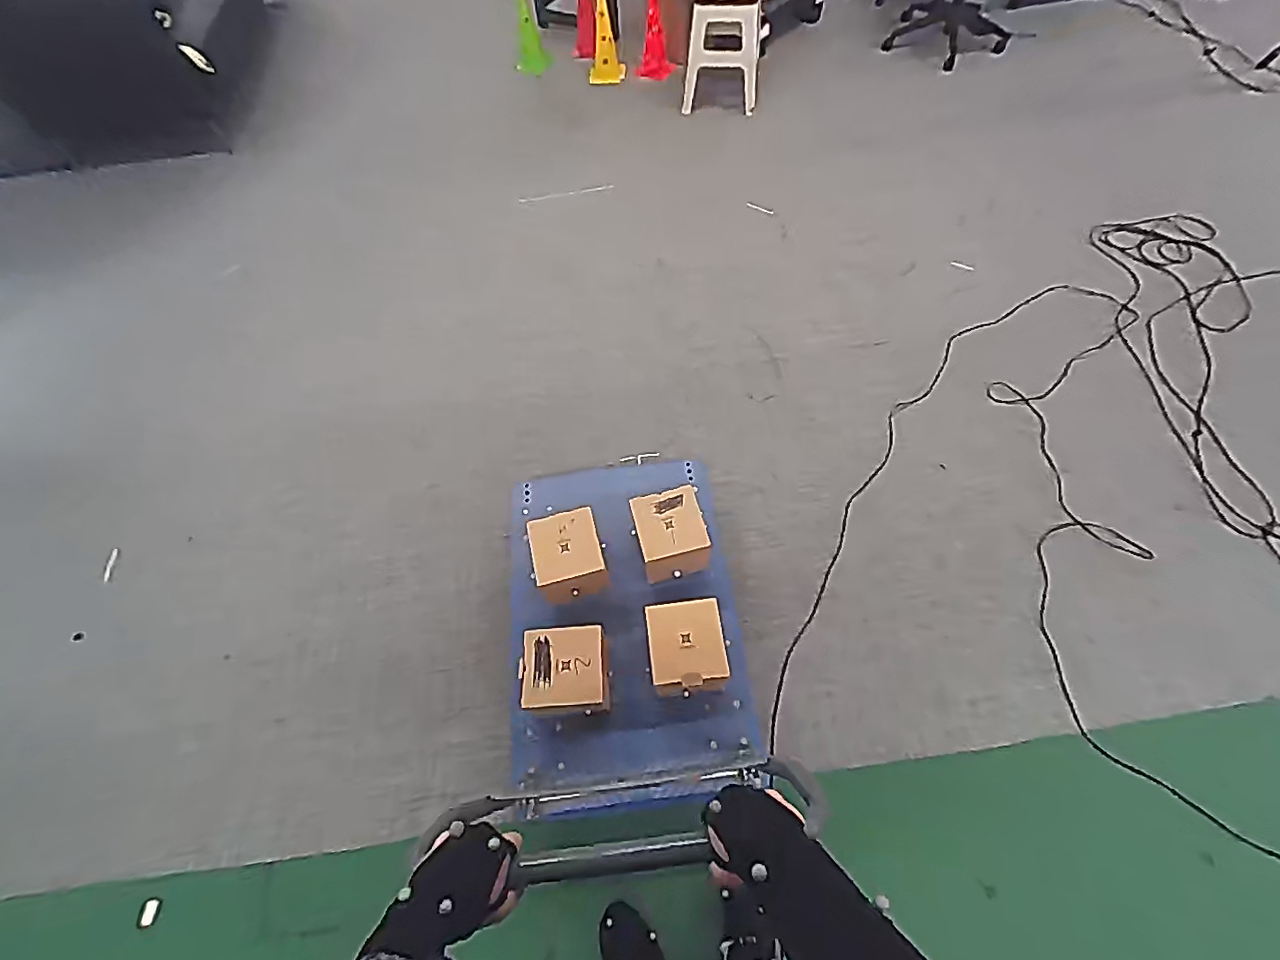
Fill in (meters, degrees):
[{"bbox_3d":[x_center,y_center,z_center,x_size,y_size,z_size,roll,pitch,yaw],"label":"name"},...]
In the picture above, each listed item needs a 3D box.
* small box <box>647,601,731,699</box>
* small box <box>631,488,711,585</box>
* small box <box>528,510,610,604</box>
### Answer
[{"bbox_3d":[0.107,0.398,1.256,0.168,0.176,0.179,-7,61,-1],"label":"small box"},{"bbox_3d":[0.077,0.150,1.396,0.168,0.176,0.179,-14,61,-4],"label":"small box"},{"bbox_3d":[-0.177,0.204,1.380,0.168,0.176,0.179,-13,61,-5],"label":"small box"}]
